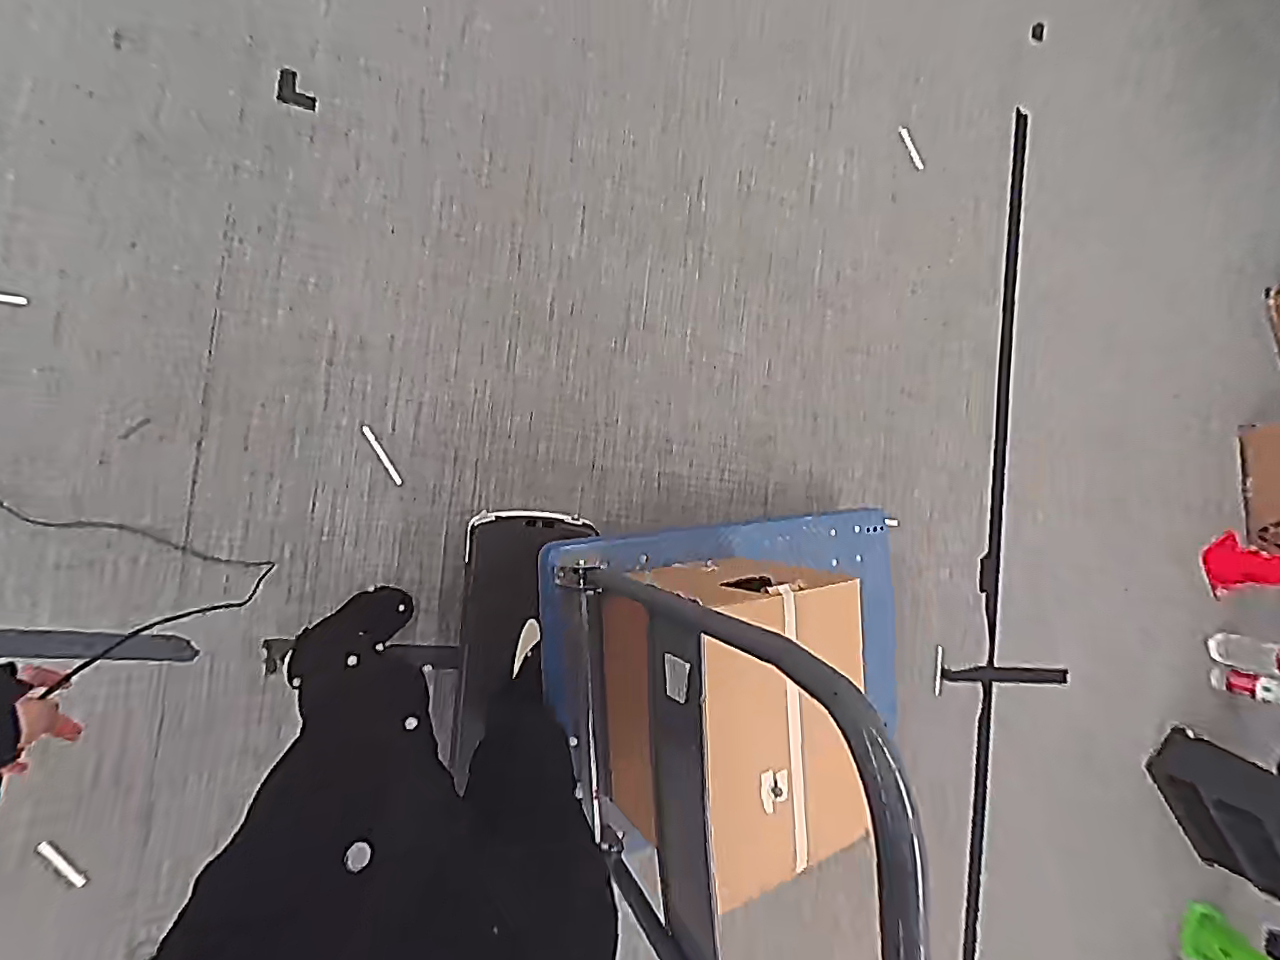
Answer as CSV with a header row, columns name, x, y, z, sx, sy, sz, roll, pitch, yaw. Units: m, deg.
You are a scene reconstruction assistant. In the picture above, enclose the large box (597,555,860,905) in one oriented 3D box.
name,x,y,z,sx,sy,sz,roll,pitch,yaw
large box,0.136,0.359,0.912,0.320,0.320,0.408,-3,91,-29
